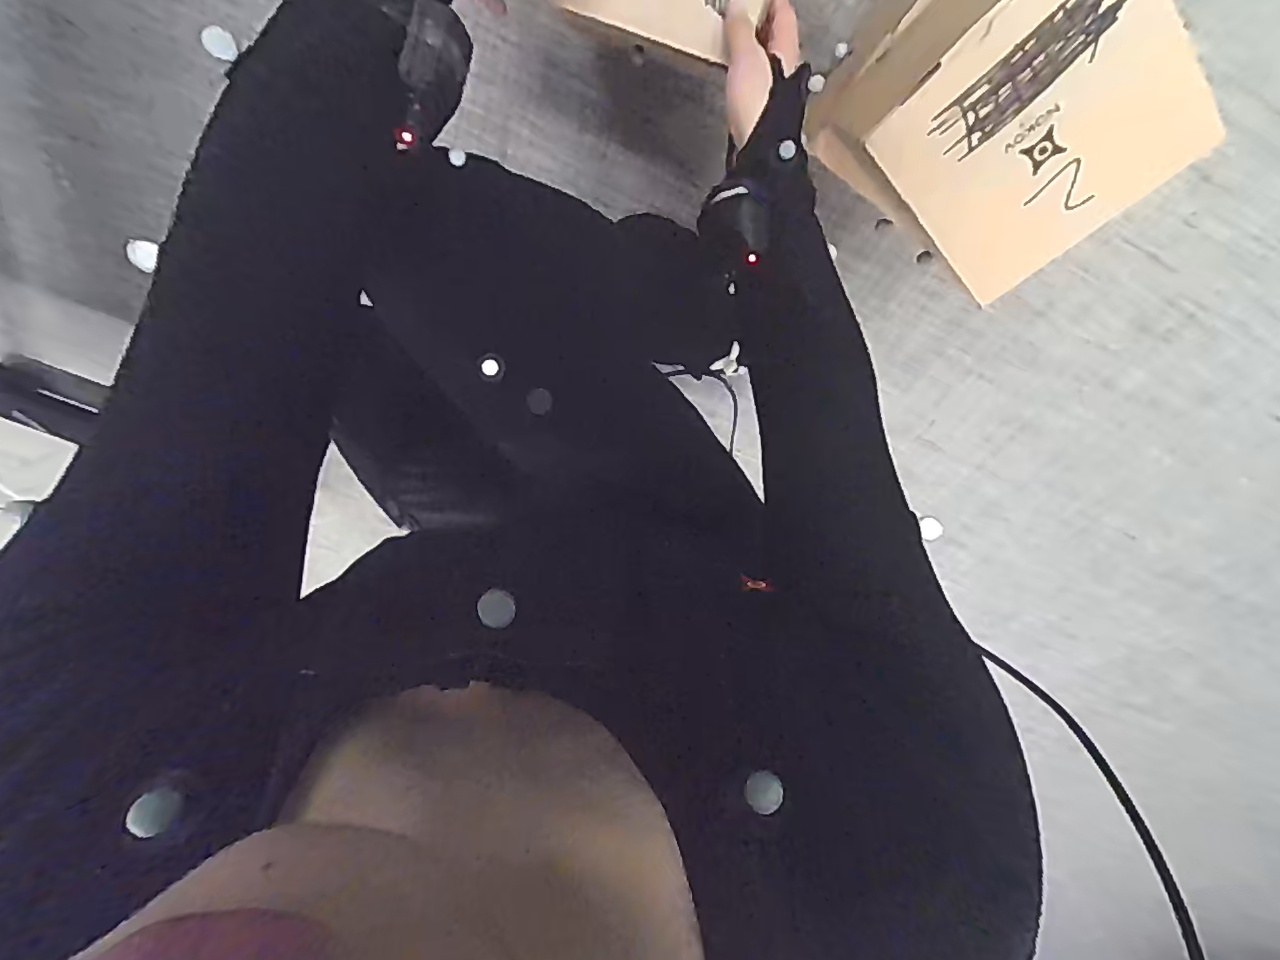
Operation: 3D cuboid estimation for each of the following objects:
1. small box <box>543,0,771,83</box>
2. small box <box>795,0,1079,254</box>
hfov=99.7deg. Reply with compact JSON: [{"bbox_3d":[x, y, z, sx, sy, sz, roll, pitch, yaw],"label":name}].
[{"bbox_3d":[0.033,-0.467,0.466,0.179,0.176,0.168,17,123,-5],"label":"small box"},{"bbox_3d":[0.288,-0.379,0.566,0.179,0.176,0.168,30,126,-17],"label":"small box"}]
